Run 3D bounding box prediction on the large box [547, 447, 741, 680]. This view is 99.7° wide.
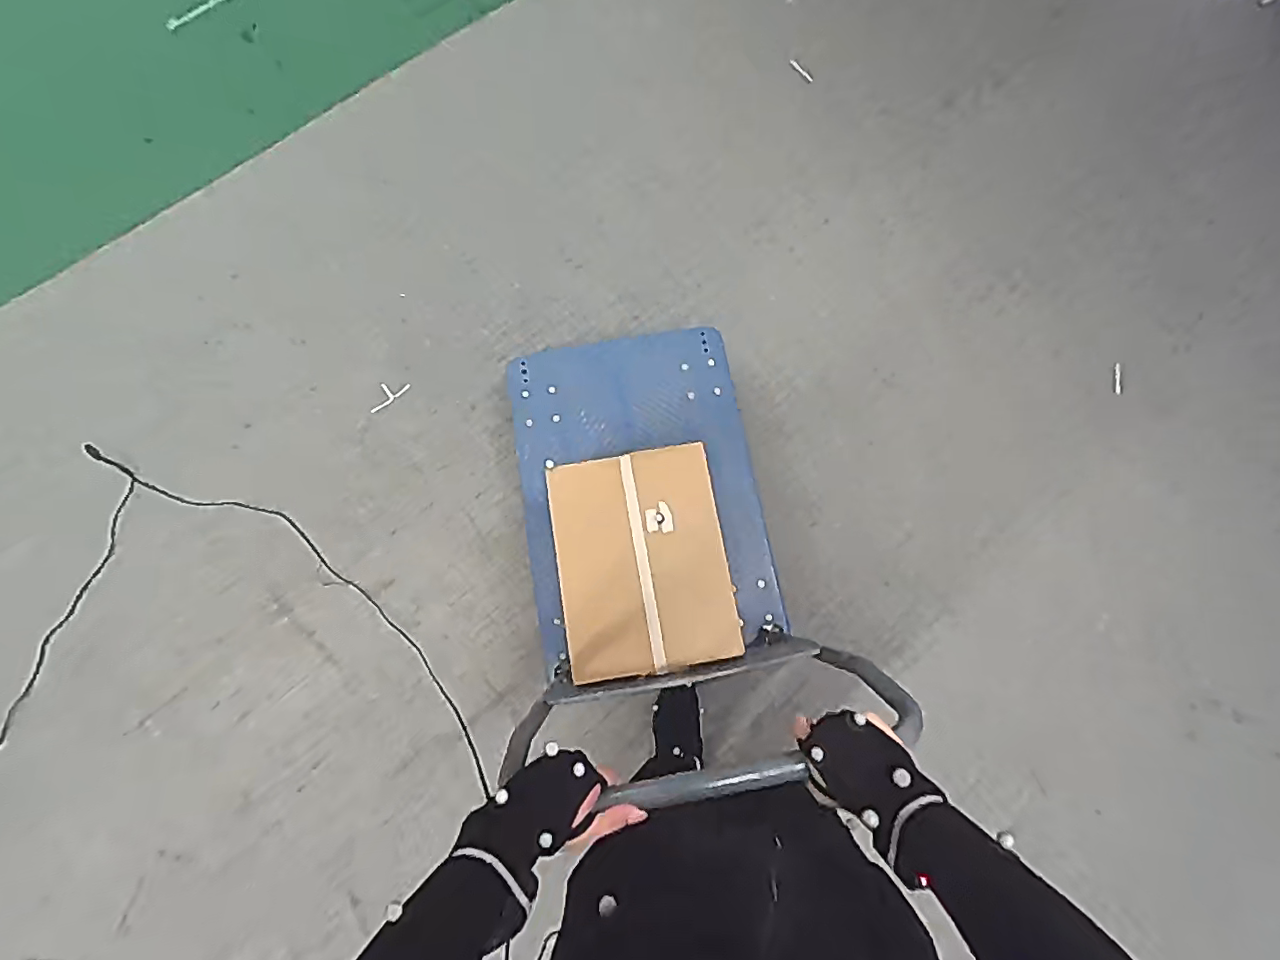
[{"bbox_3d":[0.003,0.185,1.170,0.320,0.320,0.408,-10,76,-2],"label":"large box"}]
